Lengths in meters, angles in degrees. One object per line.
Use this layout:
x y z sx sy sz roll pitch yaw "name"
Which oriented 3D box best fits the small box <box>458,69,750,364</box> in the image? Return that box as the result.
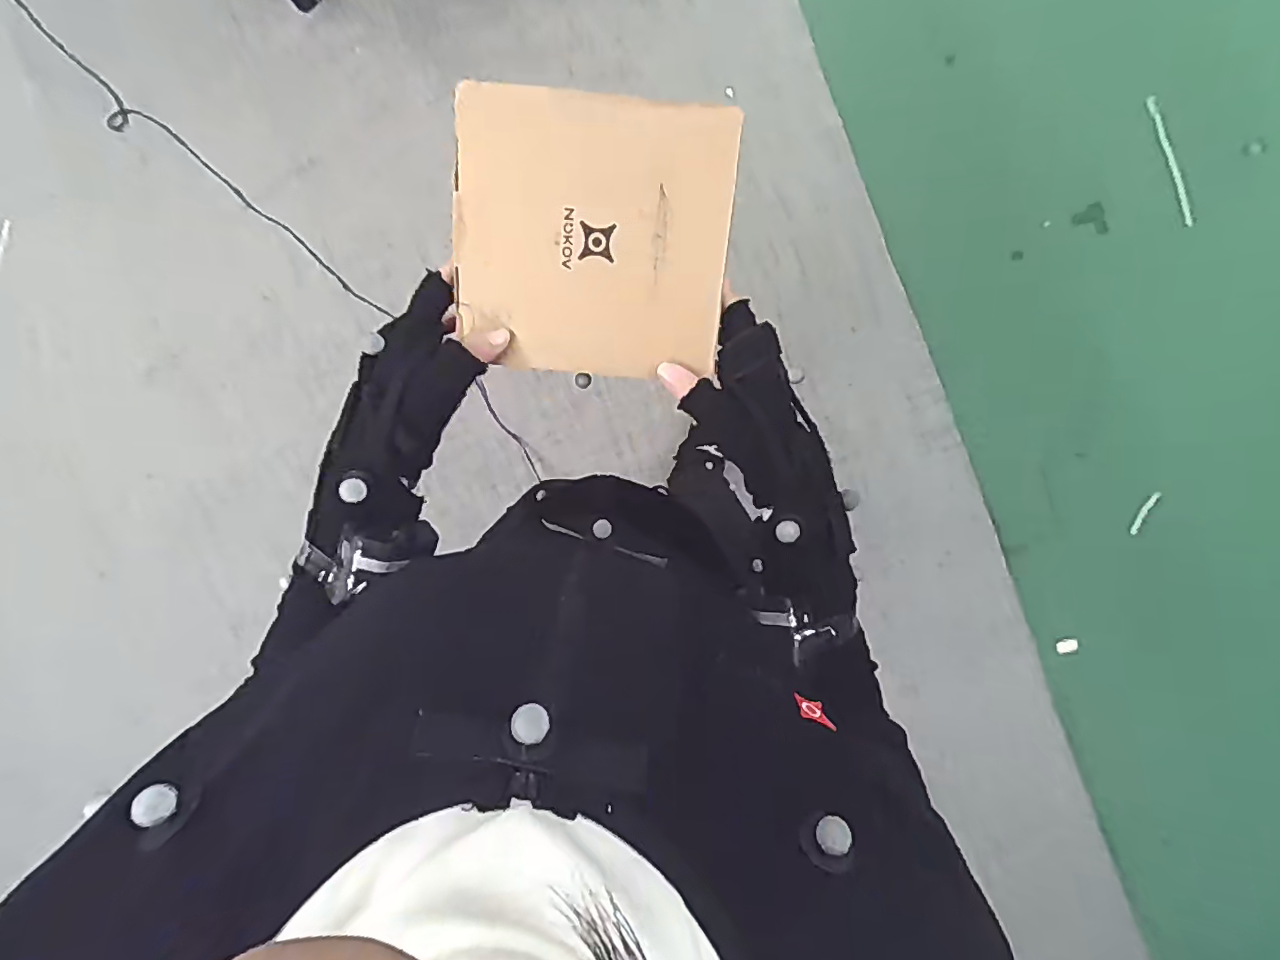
-0.023 -0.183 0.417 0.179 0.176 0.168 3 108 1 "small box"
